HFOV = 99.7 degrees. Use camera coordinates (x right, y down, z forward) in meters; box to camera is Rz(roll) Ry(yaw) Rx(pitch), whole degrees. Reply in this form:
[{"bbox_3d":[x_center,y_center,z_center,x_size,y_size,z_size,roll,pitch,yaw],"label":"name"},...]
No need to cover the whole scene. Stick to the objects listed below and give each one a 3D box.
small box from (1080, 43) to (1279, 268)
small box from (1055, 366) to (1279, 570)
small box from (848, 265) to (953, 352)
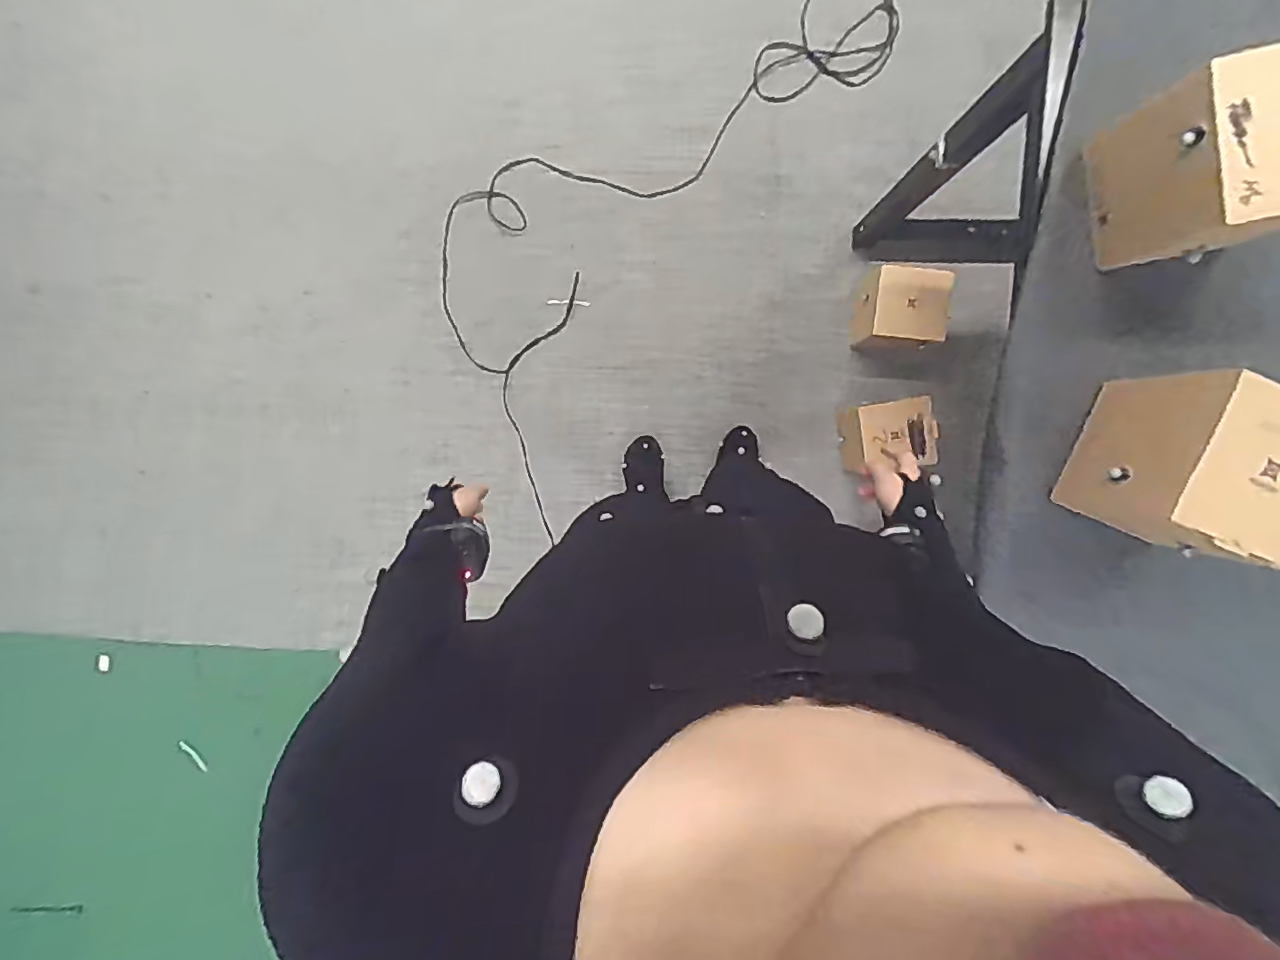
[{"bbox_3d":[0.664,-0.363,0.622,0.179,0.176,0.168,-10,95,2],"label":"small box"},{"bbox_3d":[0.659,-0.017,0.653,0.168,0.176,0.179,22,94,-4],"label":"small box"},{"bbox_3d":[0.640,-0.420,1.352,0.179,0.176,0.168,6,95,0],"label":"small box"}]
